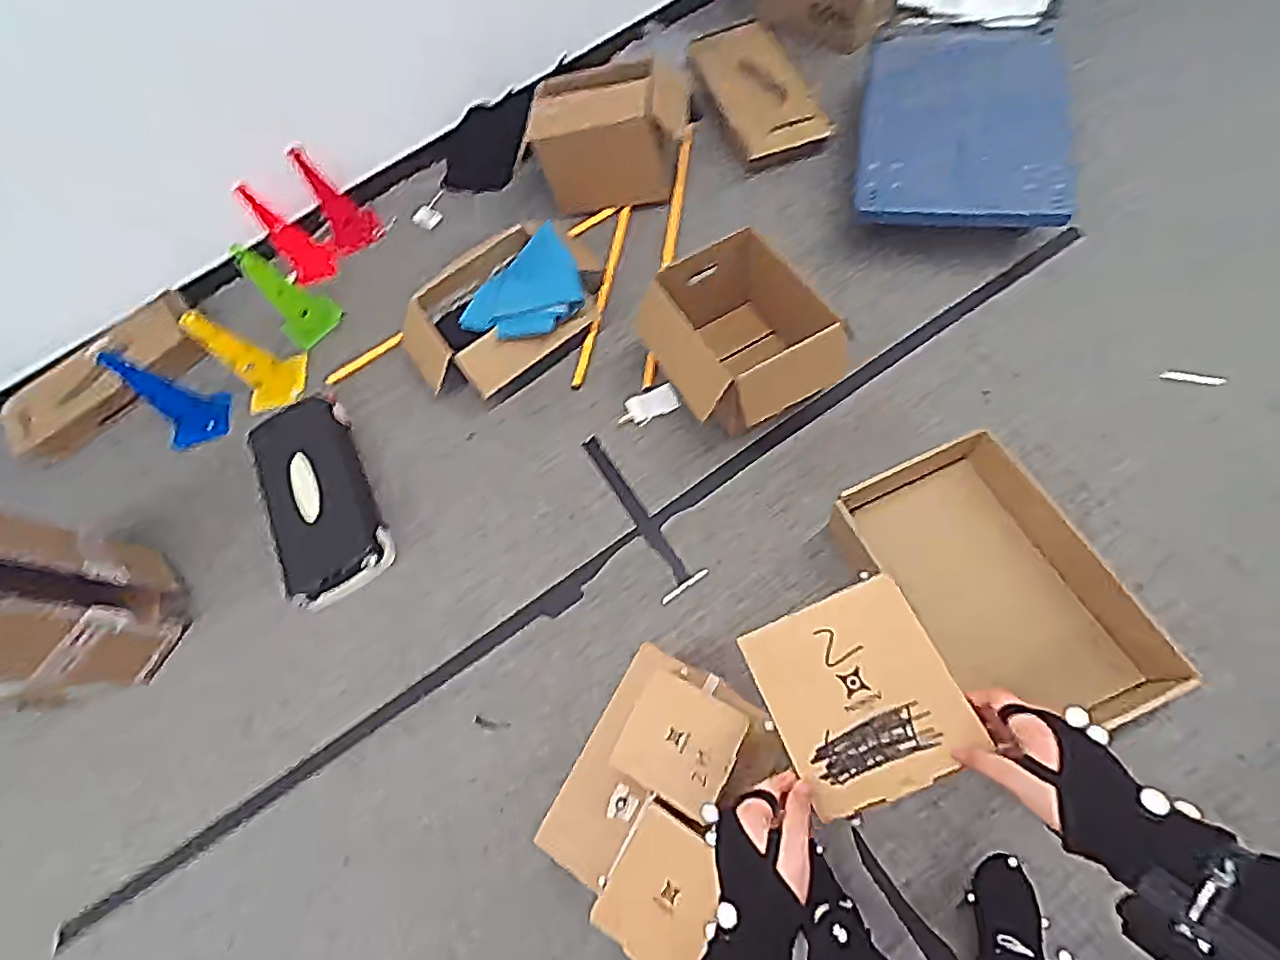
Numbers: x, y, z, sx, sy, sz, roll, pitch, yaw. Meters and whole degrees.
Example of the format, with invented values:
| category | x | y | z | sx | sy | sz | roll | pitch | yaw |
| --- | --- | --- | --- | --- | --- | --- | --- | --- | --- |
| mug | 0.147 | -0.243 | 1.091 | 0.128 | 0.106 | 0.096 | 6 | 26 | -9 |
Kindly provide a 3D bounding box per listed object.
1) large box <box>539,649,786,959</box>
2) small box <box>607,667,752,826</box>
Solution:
| category | x | y | z | sx | sy | sz | roll | pitch | yaw |
| --- | --- | --- | --- | --- | --- | --- | --- | --- | --- |
| large box | 0.067 | 0.610 | 1.099 | 0.320 | 0.320 | 0.408 | 24 | 73 | 20 |
| small box | 0.073 | 0.436 | 0.903 | 0.179 | 0.176 | 0.168 | 24 | 74 | 19 |
